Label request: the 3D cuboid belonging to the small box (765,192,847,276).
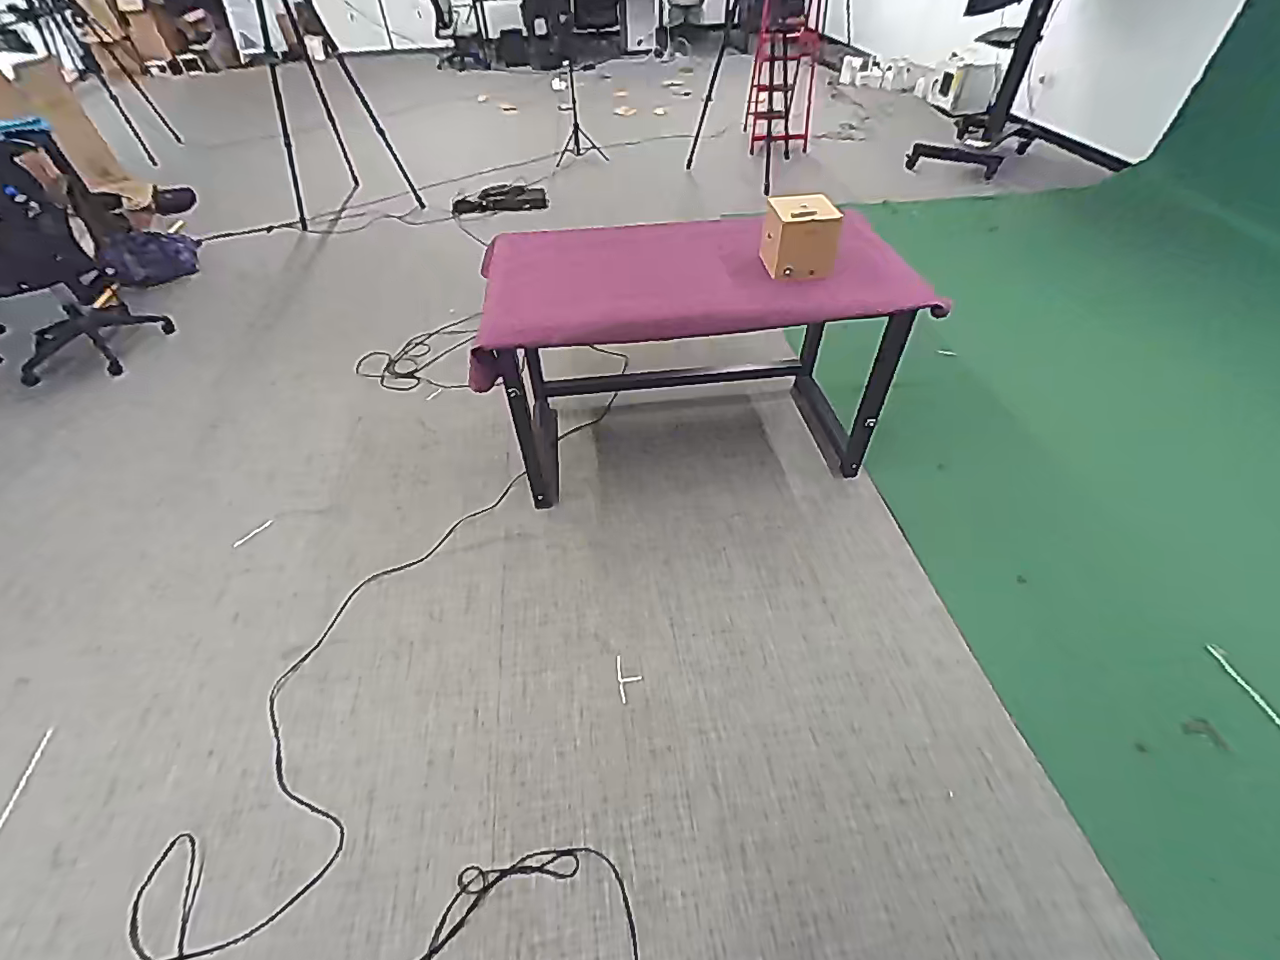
[{"bbox_3d":[0.458,-0.689,1.521,0.168,0.176,0.179,-2,47,-2],"label":"small box"}]
